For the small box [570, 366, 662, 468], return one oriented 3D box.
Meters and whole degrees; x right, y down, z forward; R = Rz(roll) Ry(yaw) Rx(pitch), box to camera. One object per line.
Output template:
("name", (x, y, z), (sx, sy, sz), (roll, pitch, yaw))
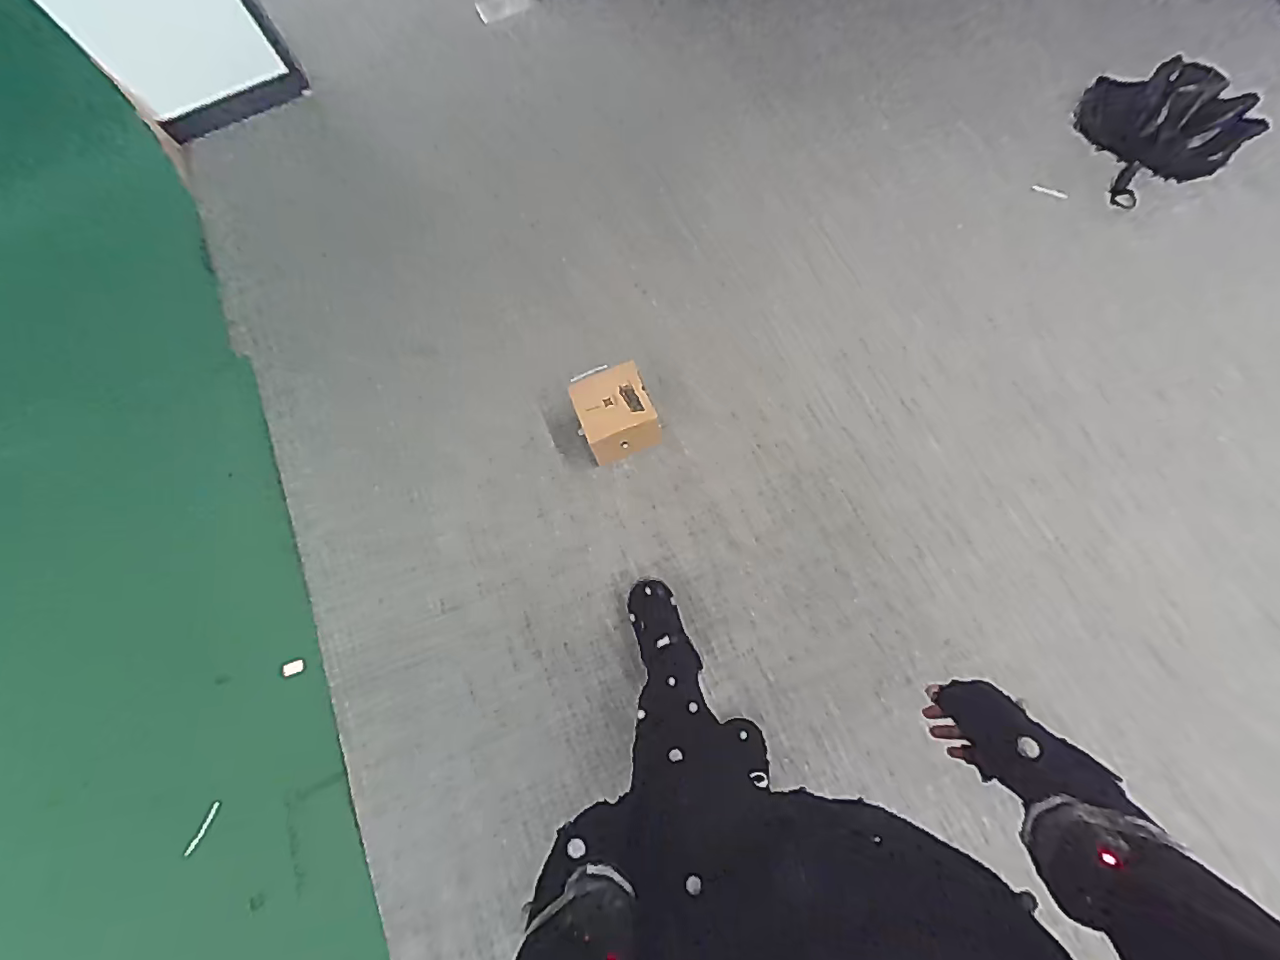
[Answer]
("small box", (-0.057, -0.153, 1.364), (0.179, 0.176, 0.168), (-25, 74, -4))
